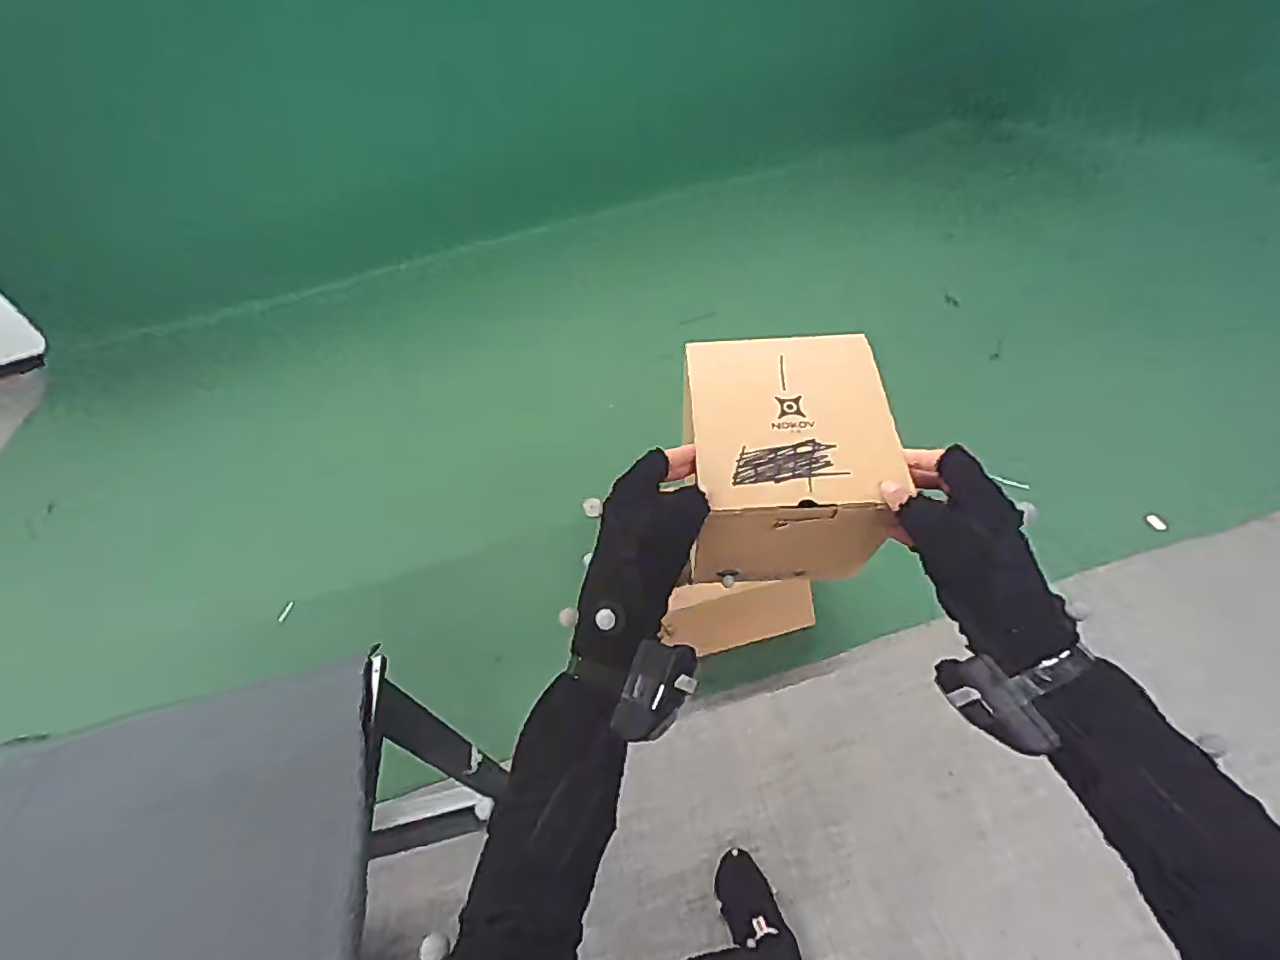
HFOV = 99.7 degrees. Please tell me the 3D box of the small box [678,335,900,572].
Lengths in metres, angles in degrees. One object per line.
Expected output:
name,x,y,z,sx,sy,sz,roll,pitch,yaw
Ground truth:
small box,0.125,-0.015,0.530,0.168,0.176,0.179,-3,59,2
